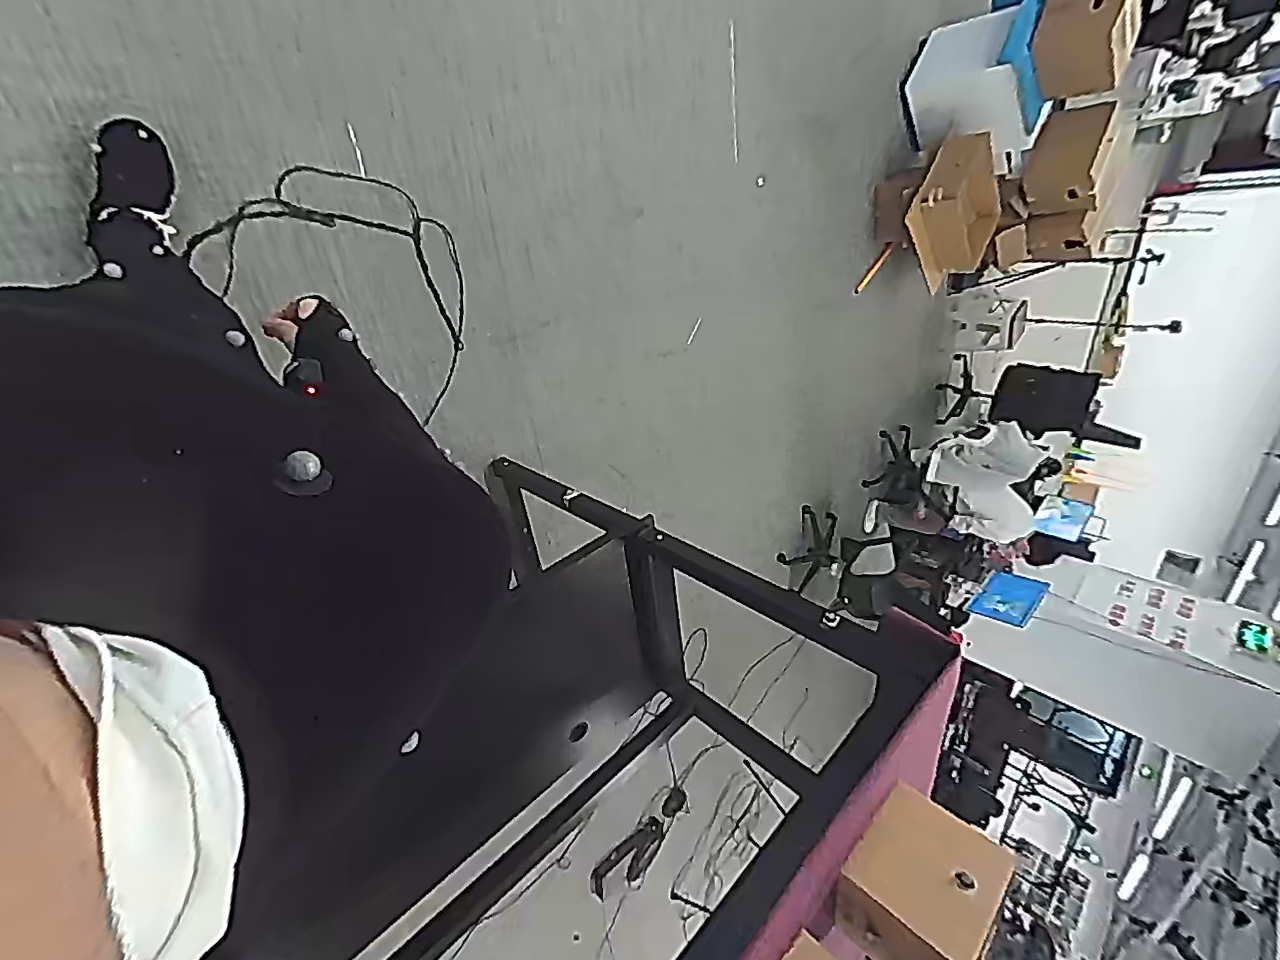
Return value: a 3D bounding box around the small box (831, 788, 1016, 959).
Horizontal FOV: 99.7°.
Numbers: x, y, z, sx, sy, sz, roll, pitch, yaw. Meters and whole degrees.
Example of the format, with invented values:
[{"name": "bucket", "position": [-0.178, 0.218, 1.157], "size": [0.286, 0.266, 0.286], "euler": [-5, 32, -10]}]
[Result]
[{"name": "small box", "position": [0.393, 0.586, 0.763], "size": [0.179, 0.176, 0.168], "euler": [-30, 125, -33]}]
